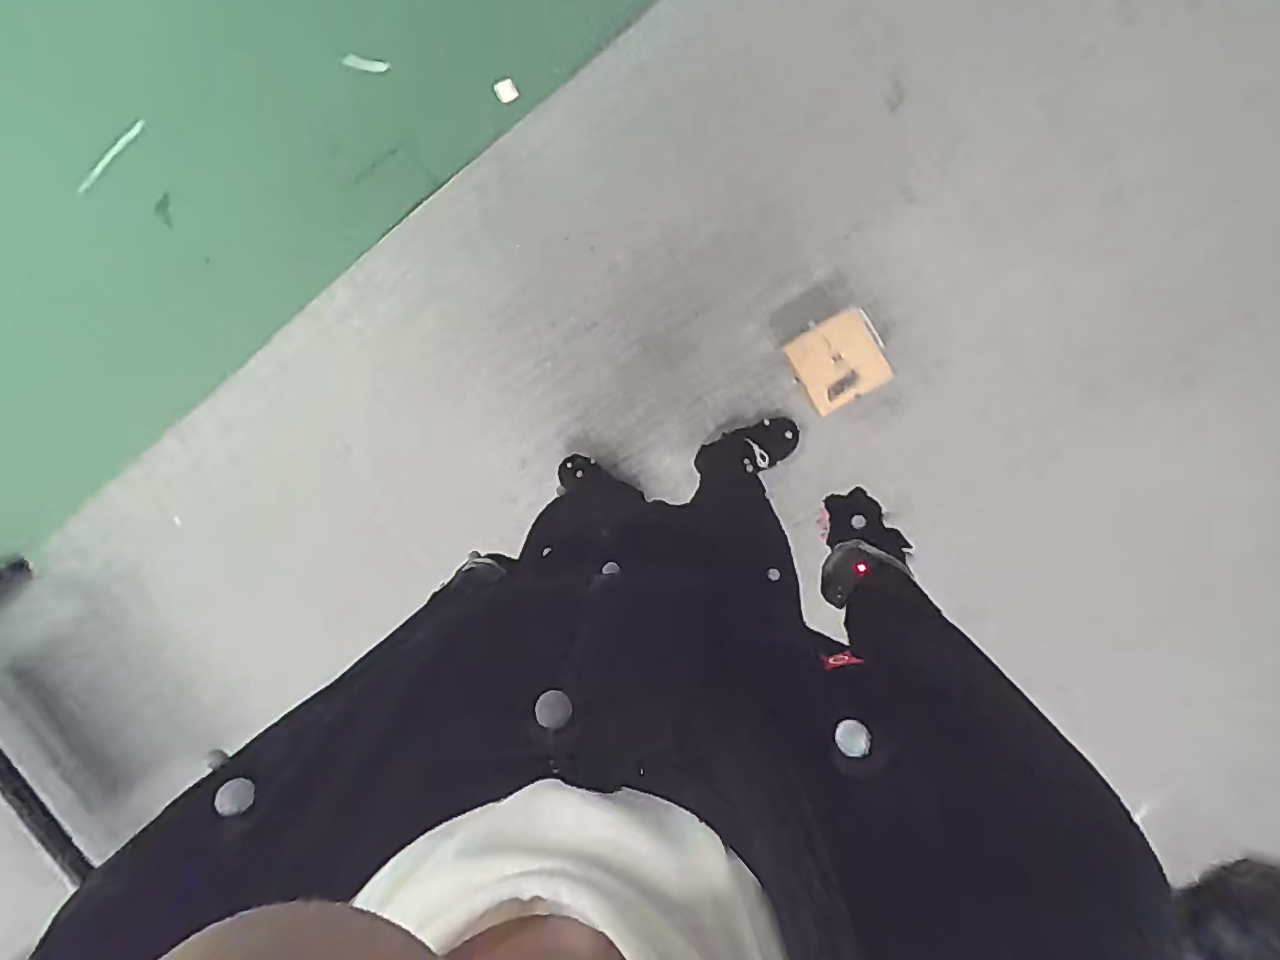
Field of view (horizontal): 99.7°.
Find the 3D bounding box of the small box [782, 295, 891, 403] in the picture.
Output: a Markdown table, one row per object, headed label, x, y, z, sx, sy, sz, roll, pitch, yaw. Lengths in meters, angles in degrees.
| label | x | y | z | sx | sy | sz | roll | pitch | yaw |
| --- | --- | --- | --- | --- | --- | --- | --- | --- | --- |
| small box | 0.433 | -0.293 | 1.216 | 0.168 | 0.176 | 0.179 | -25 | 97 | 13 |
